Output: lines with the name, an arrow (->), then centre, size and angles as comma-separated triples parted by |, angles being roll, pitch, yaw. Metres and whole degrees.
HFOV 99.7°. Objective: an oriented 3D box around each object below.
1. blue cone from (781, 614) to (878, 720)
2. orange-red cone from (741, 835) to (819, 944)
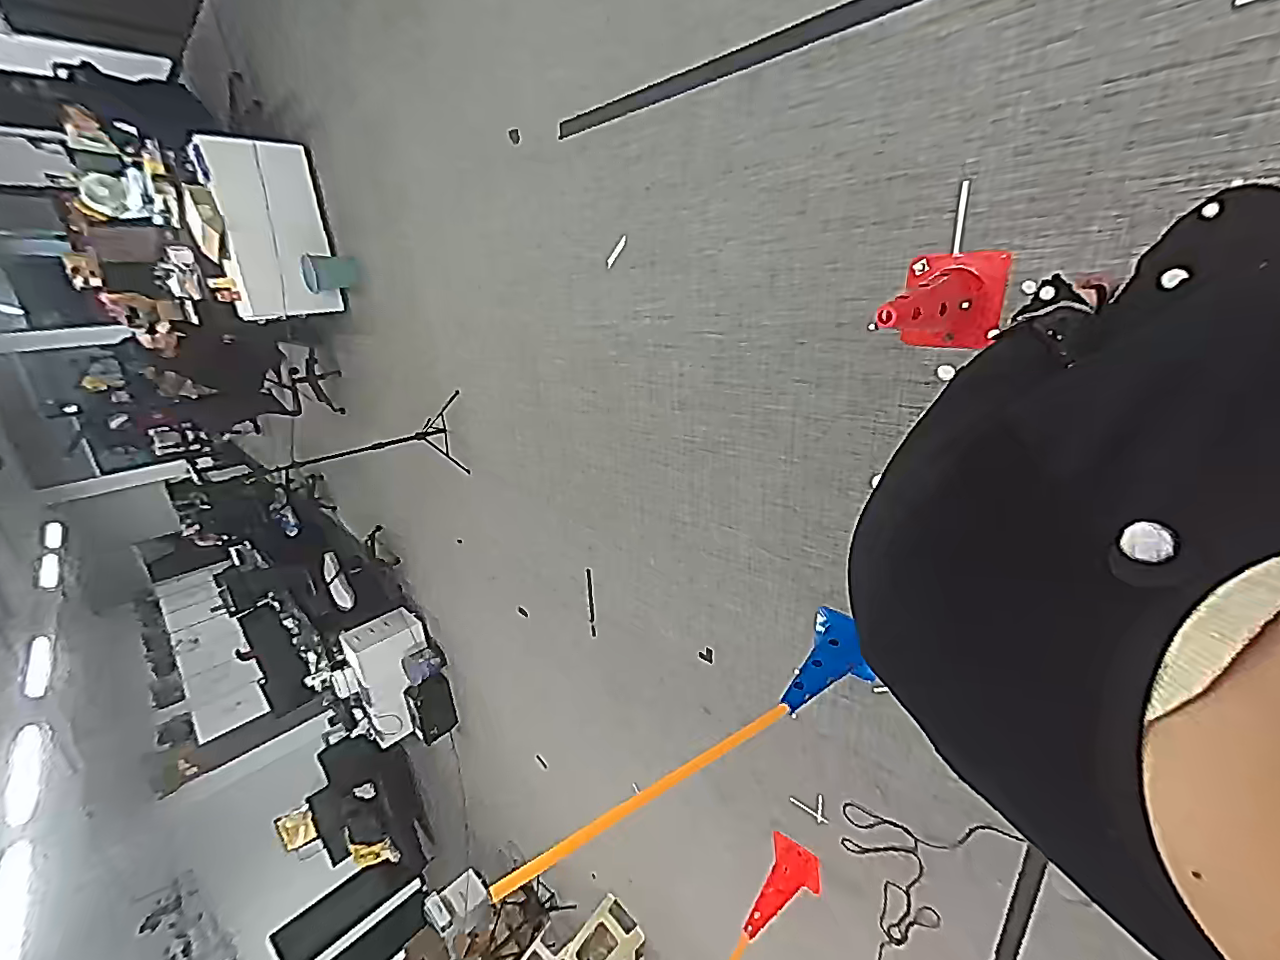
blue cone -> 0.523, 0.565, 1.568 | 0.193, 0.380, 0.192 | 20, 122, 41
orange-red cone -> 0.498, 1.575, 2.028 | 0.199, 0.360, 0.198 | 10, 114, 44
